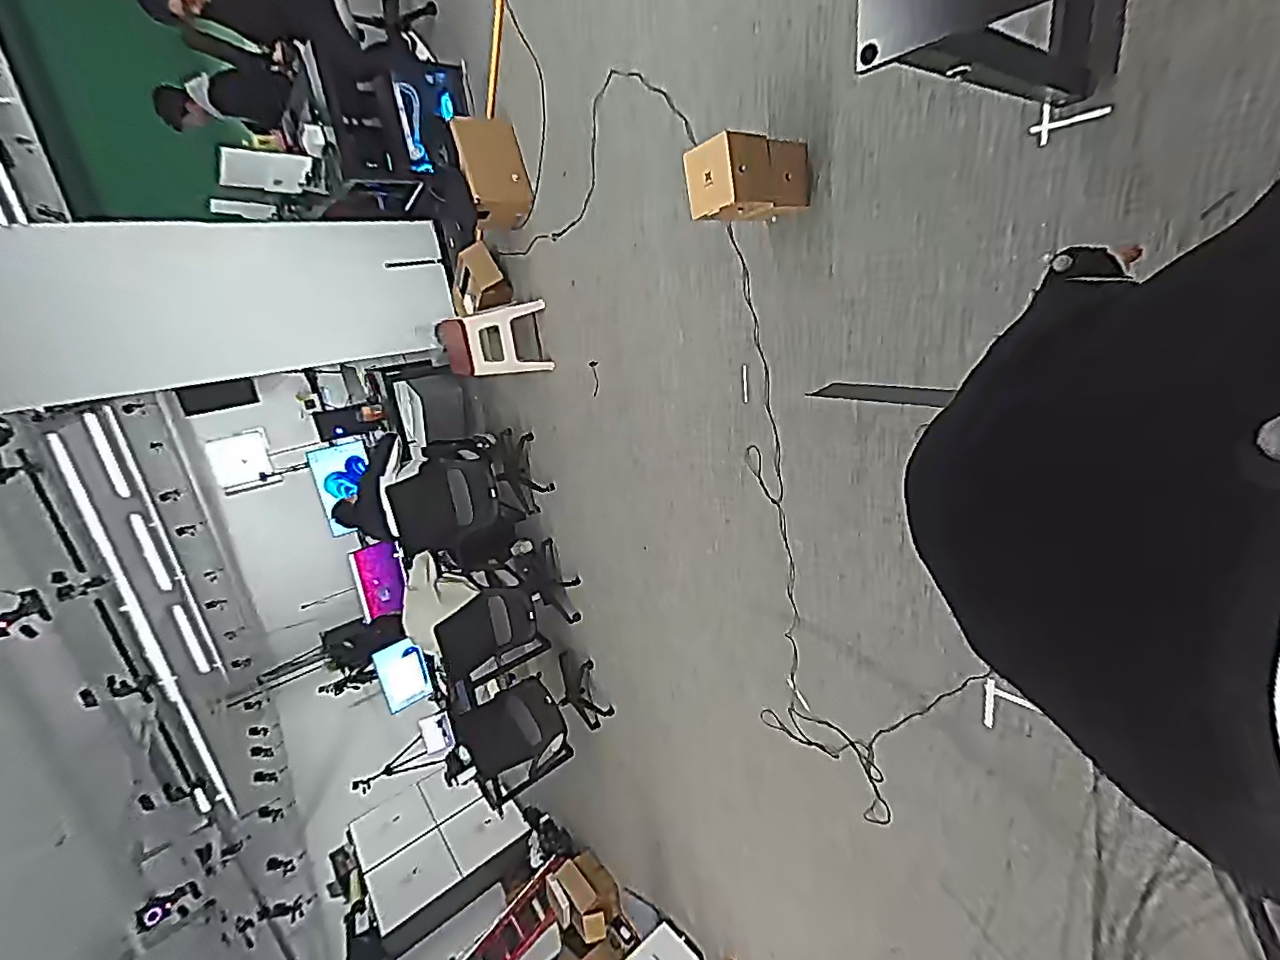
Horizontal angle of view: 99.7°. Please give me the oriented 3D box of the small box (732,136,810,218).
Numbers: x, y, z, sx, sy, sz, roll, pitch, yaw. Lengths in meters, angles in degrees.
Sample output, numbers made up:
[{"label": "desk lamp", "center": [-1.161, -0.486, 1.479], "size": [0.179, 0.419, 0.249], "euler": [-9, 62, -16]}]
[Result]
[{"label": "small box", "center": [0.381, -0.886, 1.595], "size": [0.168, 0.176, 0.179], "euler": [12, 117, 51]}]

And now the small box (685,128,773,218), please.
[{"label": "small box", "center": [0.253, -0.846, 1.504], "size": [0.168, 0.176, 0.179], "euler": [6, 111, 52]}]
